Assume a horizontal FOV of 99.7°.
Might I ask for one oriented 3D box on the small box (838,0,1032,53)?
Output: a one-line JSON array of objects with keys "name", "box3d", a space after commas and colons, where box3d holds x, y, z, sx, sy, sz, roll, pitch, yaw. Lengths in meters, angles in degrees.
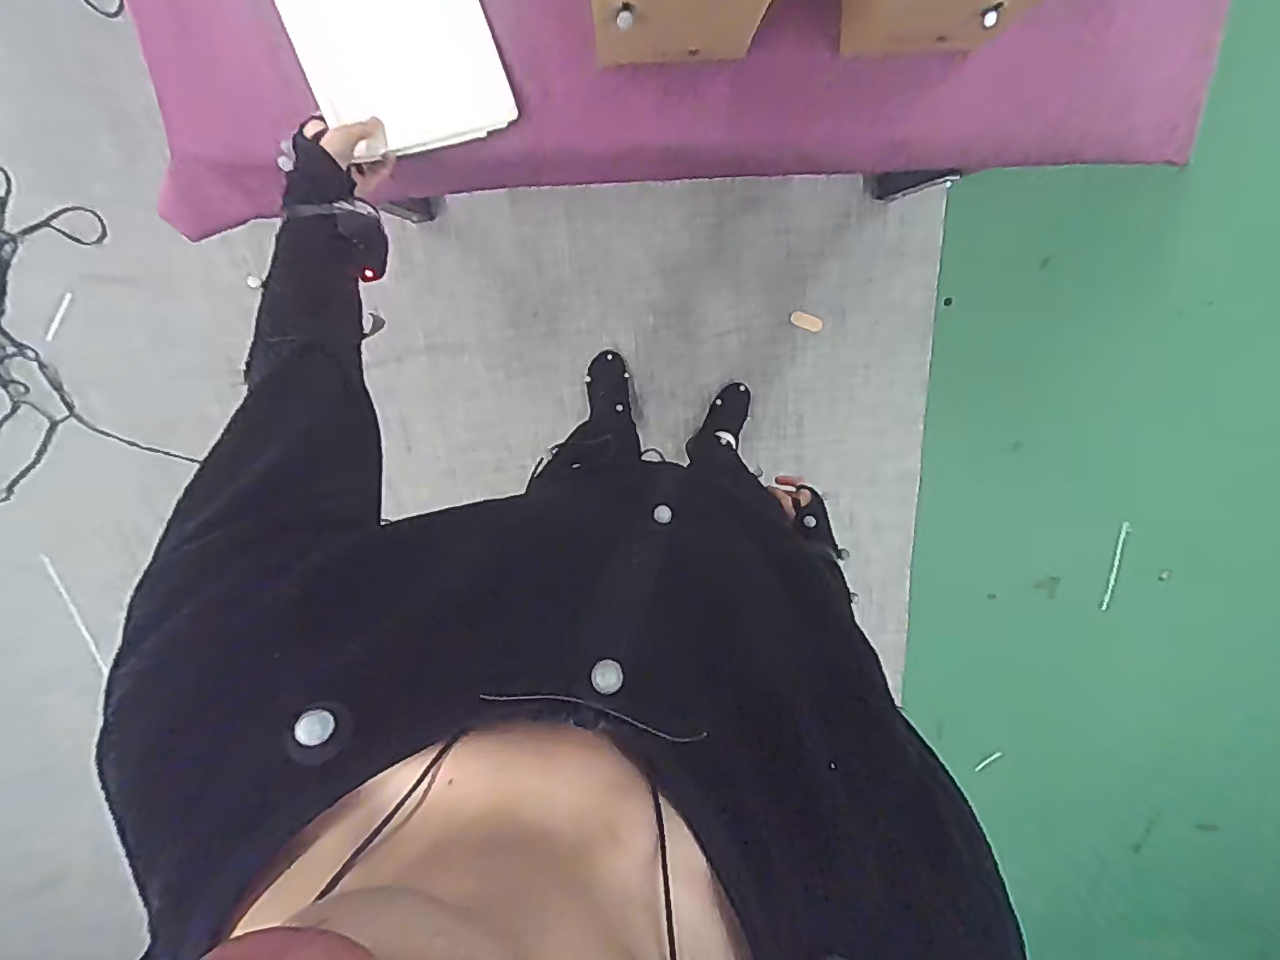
[{"name": "small box", "box3d": [0.303, -0.544, 0.519, 0.168, 0.176, 0.179, -4, 107, -2]}]
